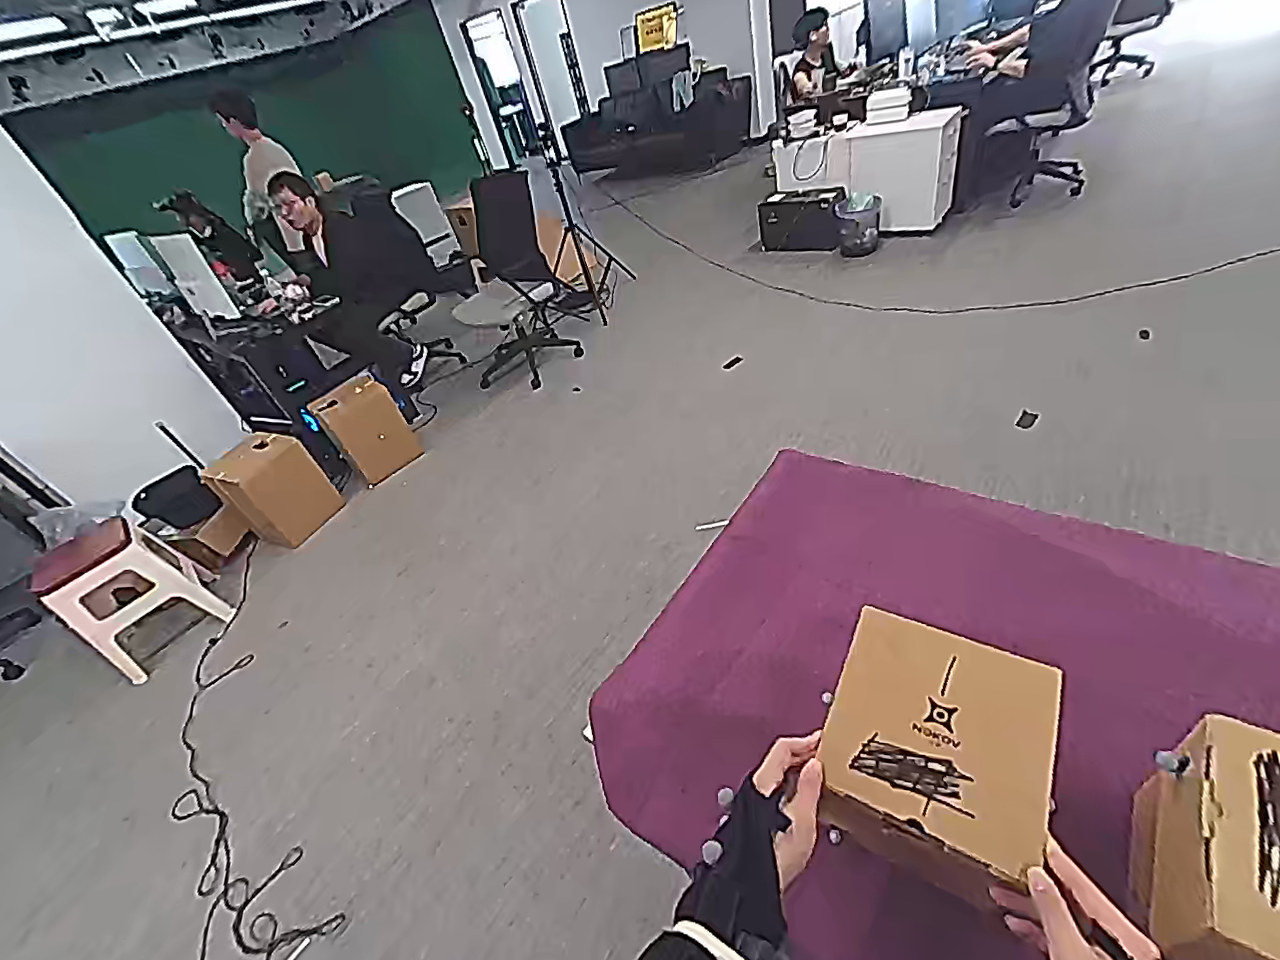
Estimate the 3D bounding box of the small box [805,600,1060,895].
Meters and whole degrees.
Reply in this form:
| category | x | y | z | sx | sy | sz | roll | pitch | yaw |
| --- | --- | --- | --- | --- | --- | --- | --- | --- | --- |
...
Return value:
| category | x | y | z | sx | sy | sz | roll | pitch | yaw |
| --- | --- | --- | --- | --- | --- | --- | --- | --- | --- |
| small box | 0.267 | 0.253 | 0.516 | 0.168 | 0.176 | 0.179 | 16 | 54 | 28 |
